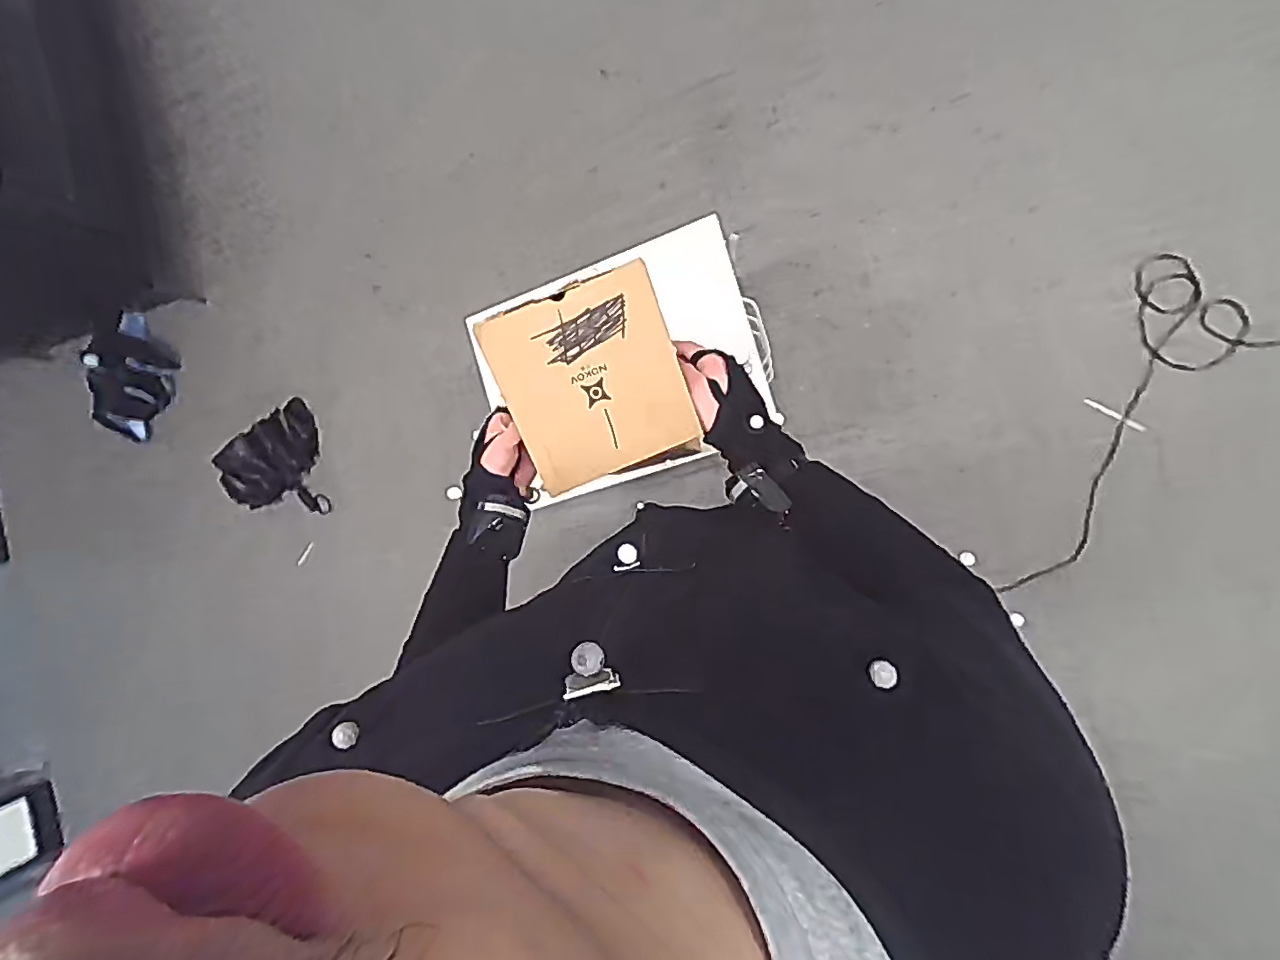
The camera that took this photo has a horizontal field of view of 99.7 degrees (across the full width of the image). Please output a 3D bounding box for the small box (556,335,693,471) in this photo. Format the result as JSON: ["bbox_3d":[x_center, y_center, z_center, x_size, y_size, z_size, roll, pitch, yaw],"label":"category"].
[{"bbox_3d":[-0.016,-0.117,0.894,0.168,0.176,0.179,-14,87,13],"label":"small box"}]
